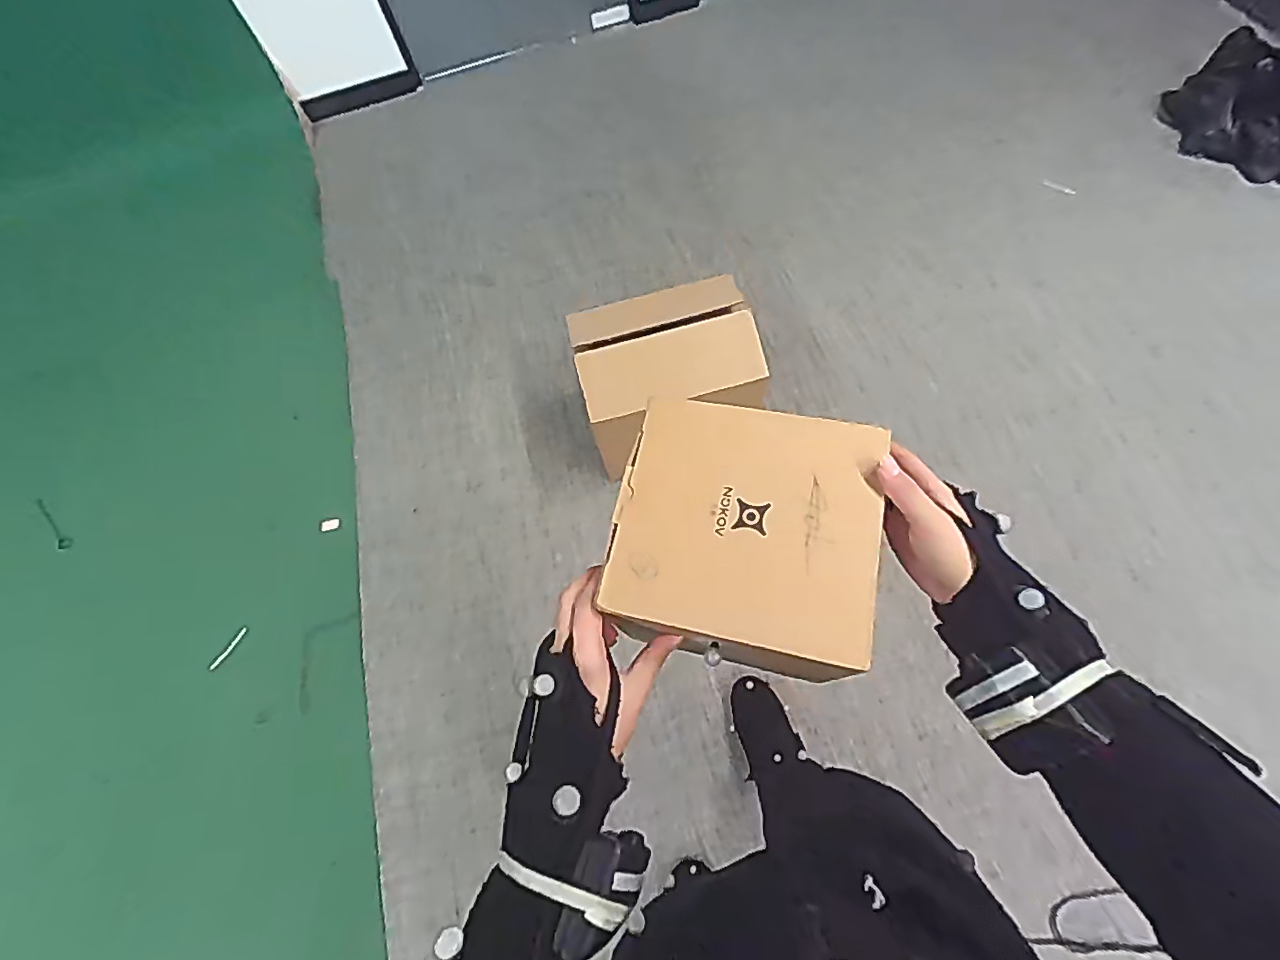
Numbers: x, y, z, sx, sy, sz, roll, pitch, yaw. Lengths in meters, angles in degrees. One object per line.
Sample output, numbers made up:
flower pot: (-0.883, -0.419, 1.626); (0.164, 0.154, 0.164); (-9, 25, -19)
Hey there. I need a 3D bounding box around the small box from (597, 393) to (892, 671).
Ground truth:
small box: (0.083, 0.052, 0.437); (0.179, 0.176, 0.168); (10, 70, 12)
